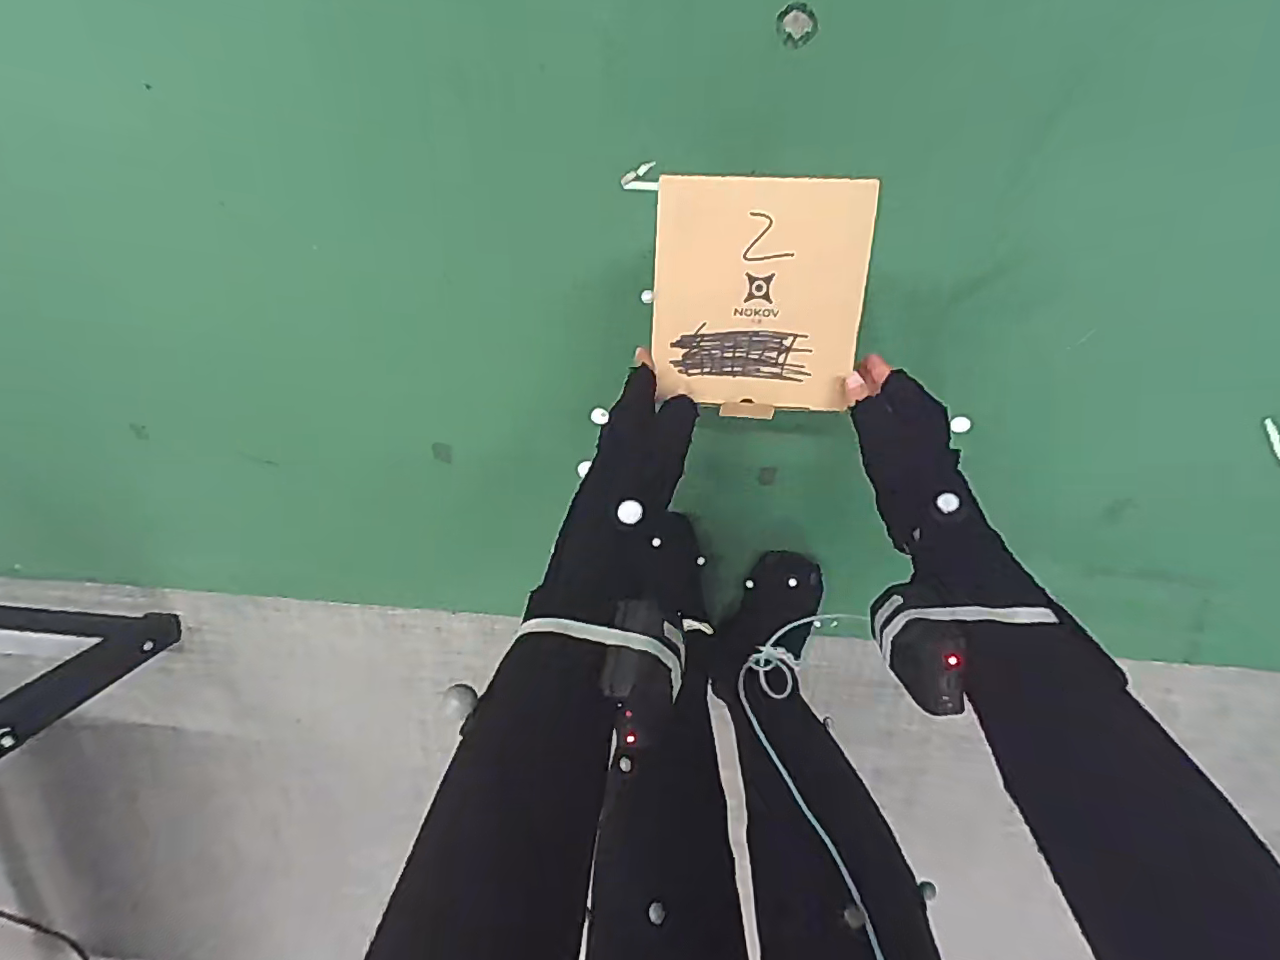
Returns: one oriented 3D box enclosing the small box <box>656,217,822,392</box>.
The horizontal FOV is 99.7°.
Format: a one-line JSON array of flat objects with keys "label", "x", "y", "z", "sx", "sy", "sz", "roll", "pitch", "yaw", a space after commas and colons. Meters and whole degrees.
[{"label": "small box", "x": 0.112, "y": -0.212, "z": 0.668, "sx": 0.168, "sy": 0.176, "sz": 0.179, "roll": 4, "pitch": 106, "yaw": 3}]
